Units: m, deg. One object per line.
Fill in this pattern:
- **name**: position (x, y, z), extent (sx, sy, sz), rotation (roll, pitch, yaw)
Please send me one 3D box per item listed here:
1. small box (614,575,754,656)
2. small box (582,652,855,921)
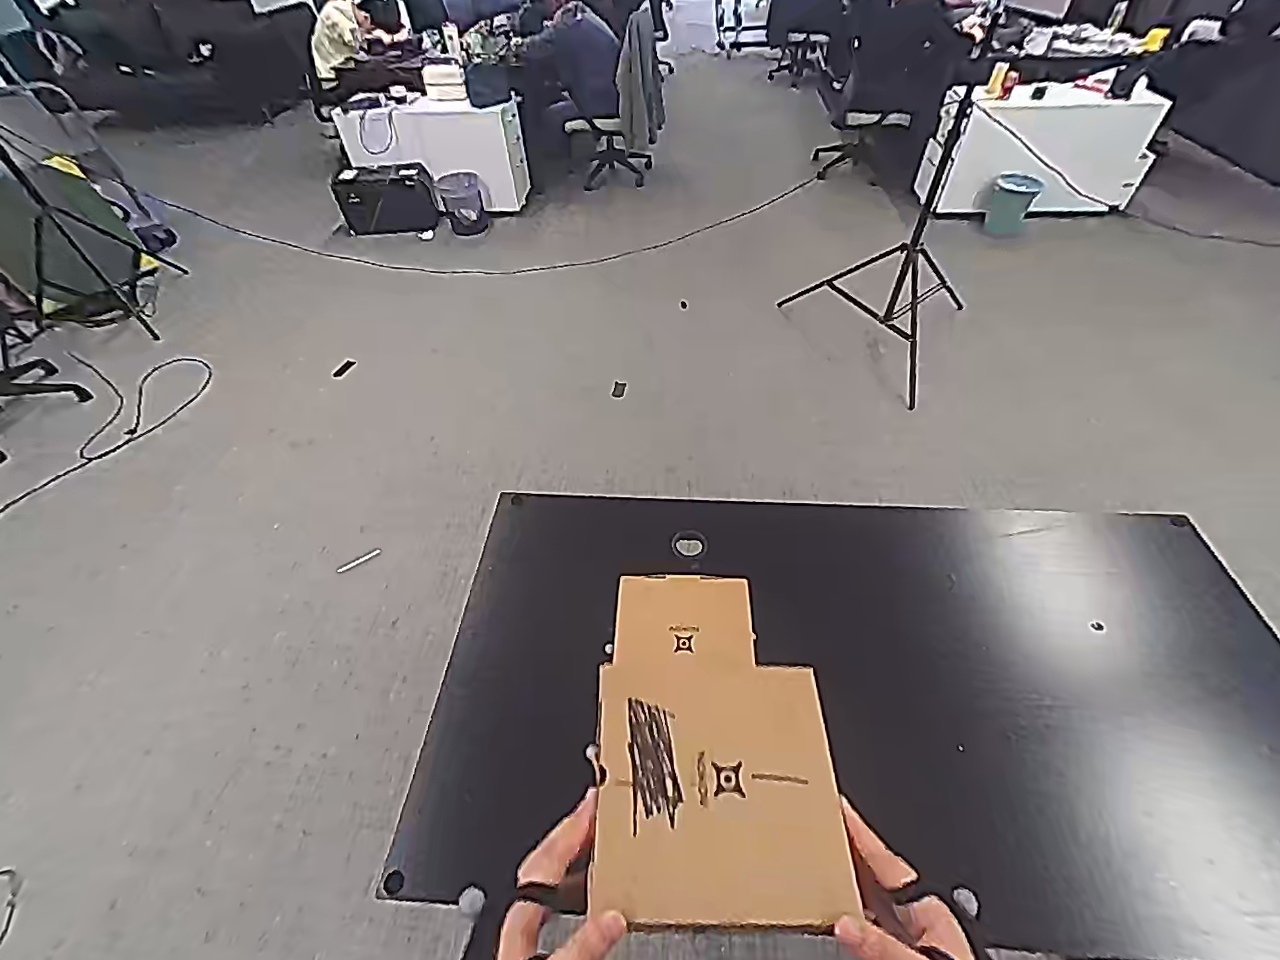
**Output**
- **small box**: position (0.054, 0.242, 0.702), extent (0.168, 0.176, 0.179), rotation (-1, 49, 4)
- **small box**: position (0.049, 0.257, 0.450), extent (0.179, 0.176, 0.168), rotation (2, 50, -2)
